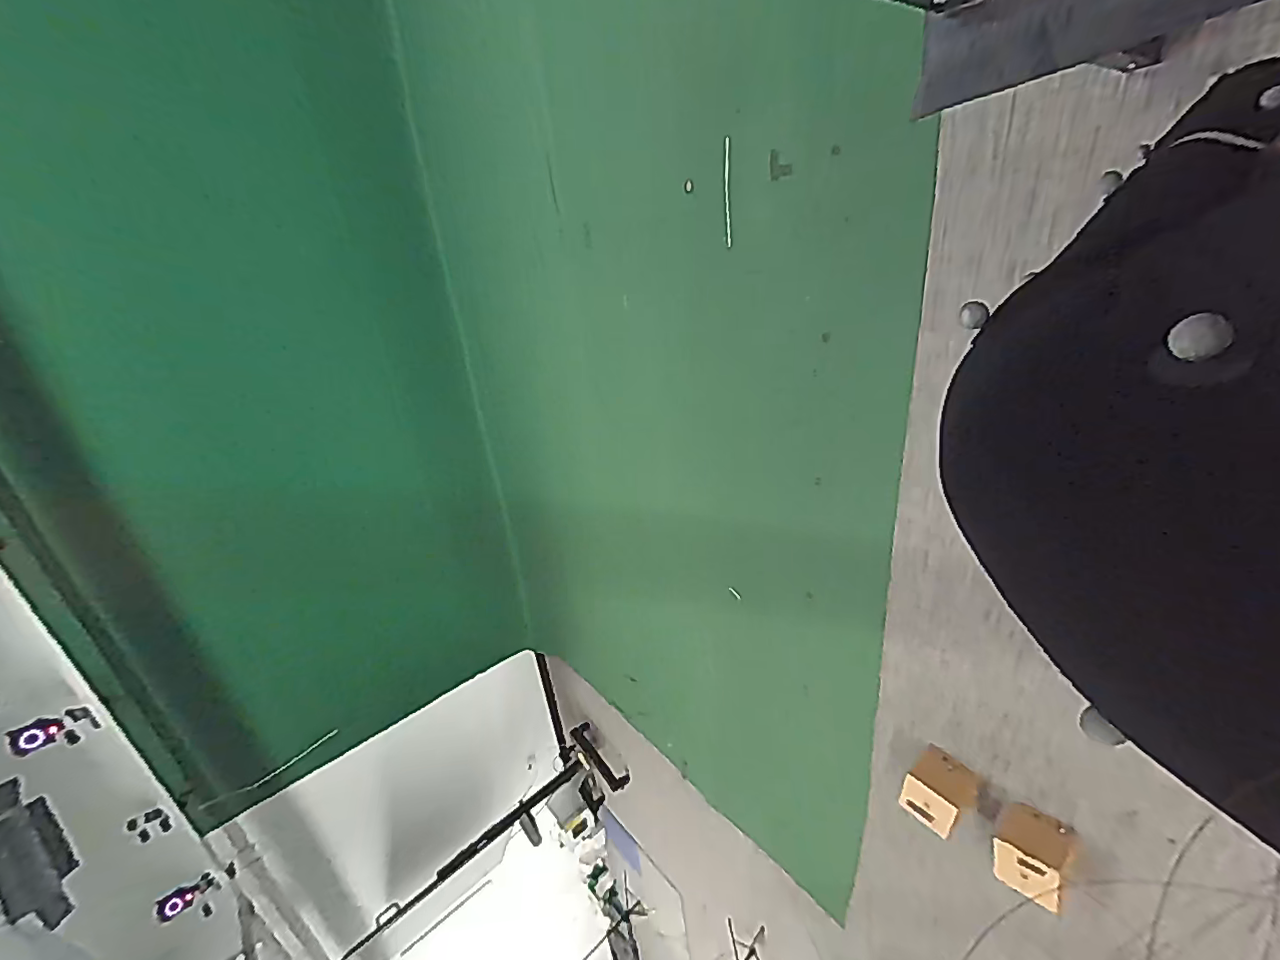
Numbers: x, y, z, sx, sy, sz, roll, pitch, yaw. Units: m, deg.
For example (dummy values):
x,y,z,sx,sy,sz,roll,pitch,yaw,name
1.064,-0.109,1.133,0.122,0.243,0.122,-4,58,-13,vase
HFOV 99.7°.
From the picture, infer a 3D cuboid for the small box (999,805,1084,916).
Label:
x,y,z,sx,sy,sz,roll,pitch,yaw,name
1.207,1.131,1.625,0.168,0.176,0.179,13,121,52,small box
